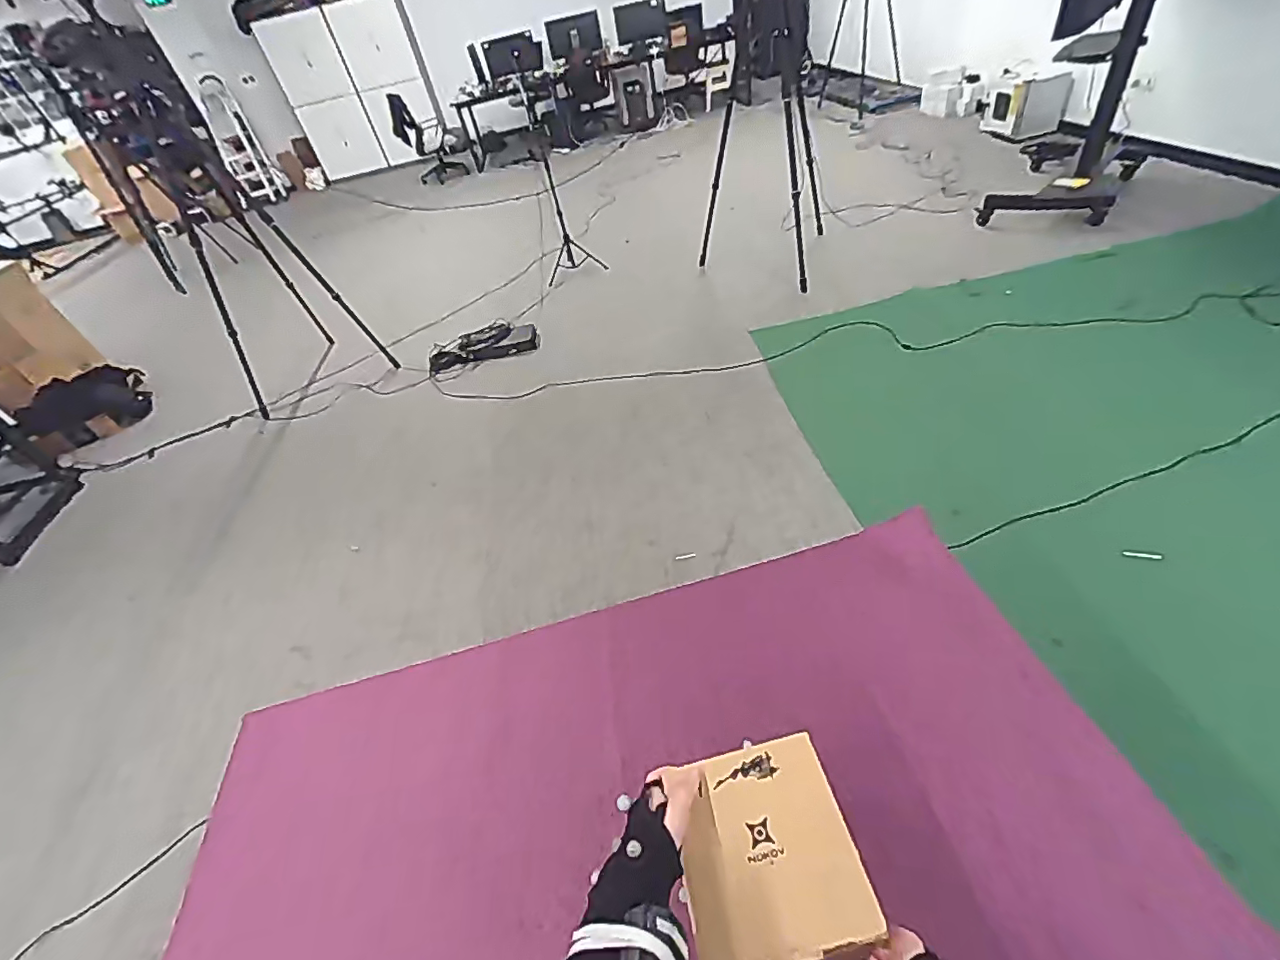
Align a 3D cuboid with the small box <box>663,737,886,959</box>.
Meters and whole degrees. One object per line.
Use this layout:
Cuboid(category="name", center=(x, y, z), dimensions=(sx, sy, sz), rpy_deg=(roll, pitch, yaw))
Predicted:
Cuboid(category="small box", center=(0.132, 0.406, 0.572), dimensions=(0.168, 0.176, 0.179), rpy_deg=(-15, 44, 0))
